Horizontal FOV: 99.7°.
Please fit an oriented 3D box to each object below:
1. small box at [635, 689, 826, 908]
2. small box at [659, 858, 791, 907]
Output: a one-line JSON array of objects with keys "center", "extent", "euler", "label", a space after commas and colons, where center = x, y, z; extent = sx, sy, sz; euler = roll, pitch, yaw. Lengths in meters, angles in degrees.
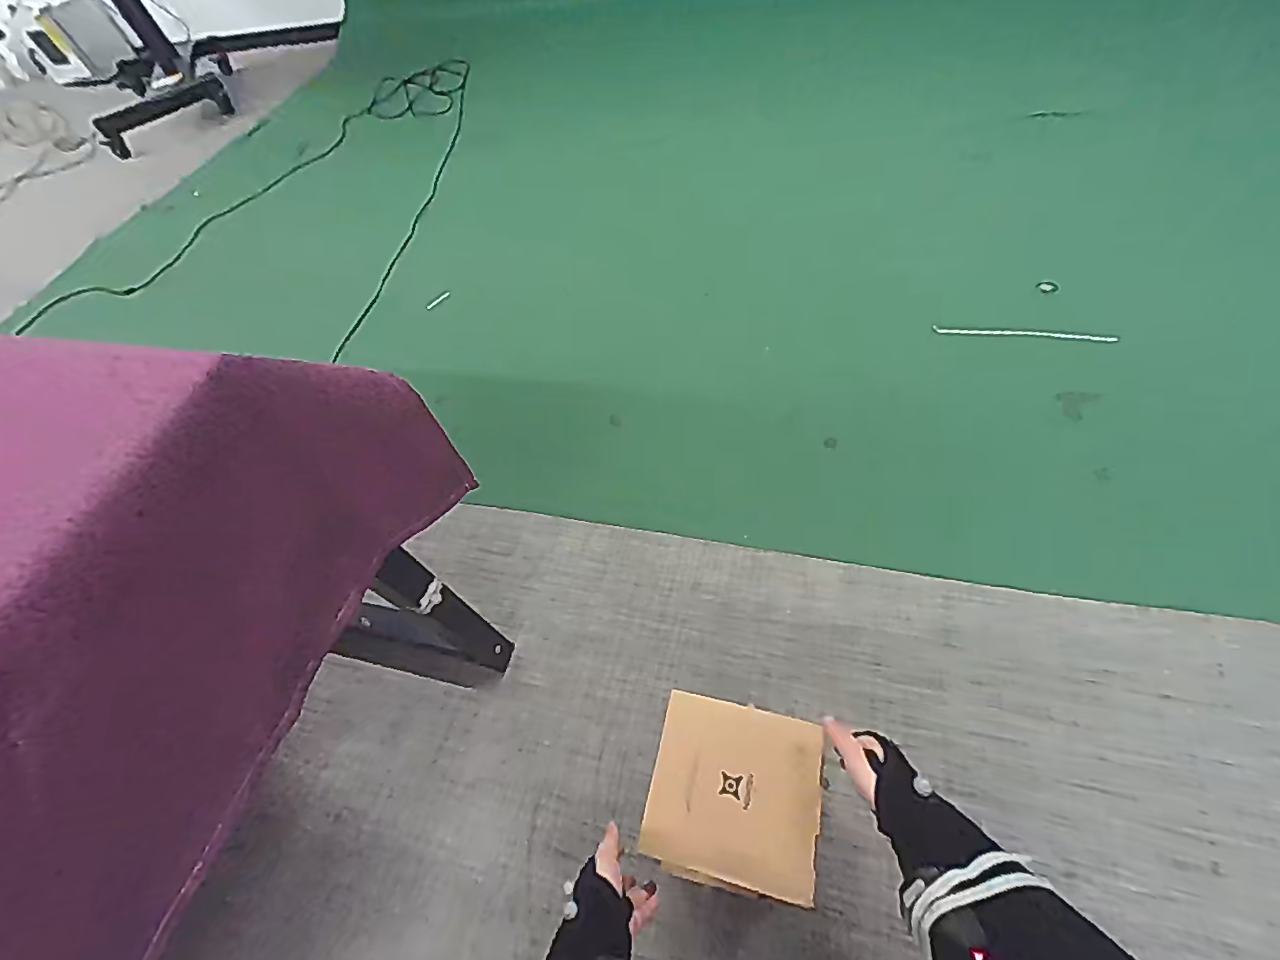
[{"center": [0.109, 0.367, 0.634], "extent": [0.179, 0.176, 0.168], "euler": [8, 57, 15], "label": "small box"}, {"center": [0.132, 0.465, 0.763], "extent": [0.168, 0.176, 0.179], "euler": [6, 58, 13], "label": "small box"}]
